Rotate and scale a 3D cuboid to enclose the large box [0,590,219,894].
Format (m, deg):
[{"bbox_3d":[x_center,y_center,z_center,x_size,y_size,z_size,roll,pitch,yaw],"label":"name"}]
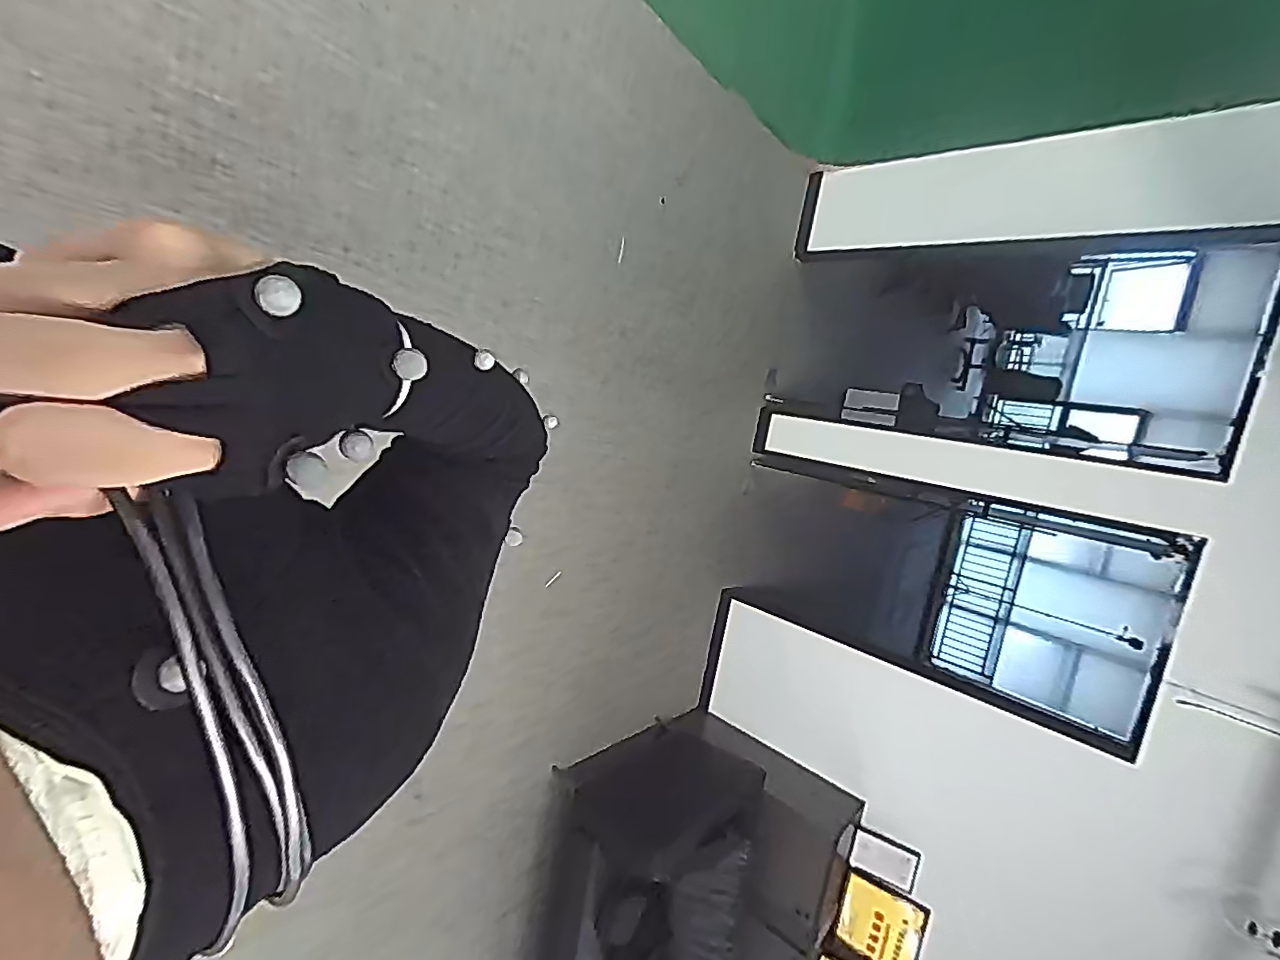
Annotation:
[{"bbox_3d":[-1.060,0.454,1.018,0.320,0.320,0.408,12,94,-51],"label":"large box"}]
